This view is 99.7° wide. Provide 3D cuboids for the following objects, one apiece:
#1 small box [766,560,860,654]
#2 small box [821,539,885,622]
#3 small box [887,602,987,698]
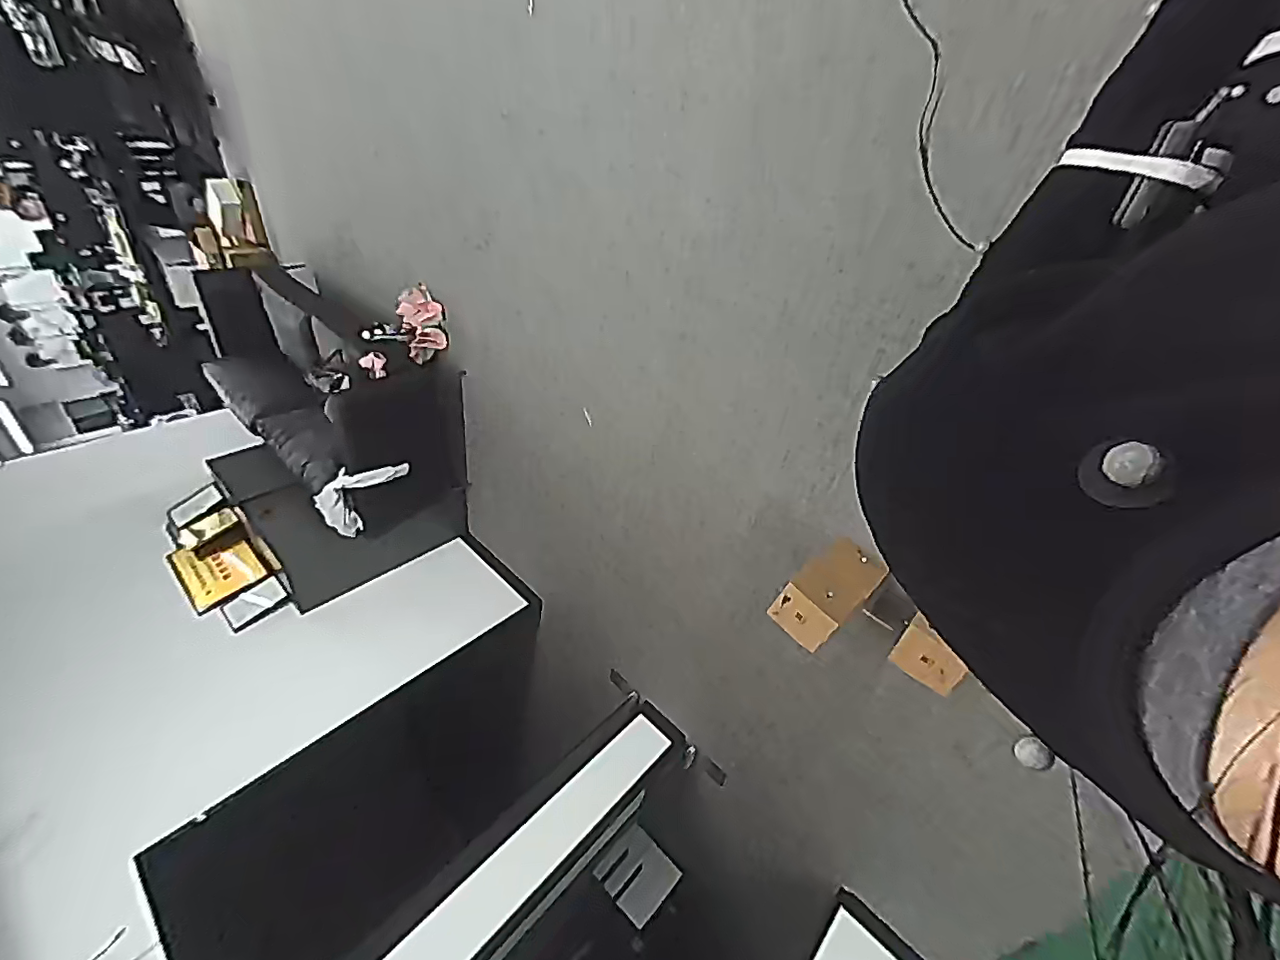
[{"bbox_3d":[0.514,0.369,1.599,0.179,0.176,0.168,41,135,21],"label":"small box"},{"bbox_3d":[0.635,0.321,1.701,0.168,0.176,0.179,42,135,22],"label":"small box"},{"bbox_3d":[0.855,0.478,1.558,0.179,0.176,0.168,34,132,28],"label":"small box"}]
